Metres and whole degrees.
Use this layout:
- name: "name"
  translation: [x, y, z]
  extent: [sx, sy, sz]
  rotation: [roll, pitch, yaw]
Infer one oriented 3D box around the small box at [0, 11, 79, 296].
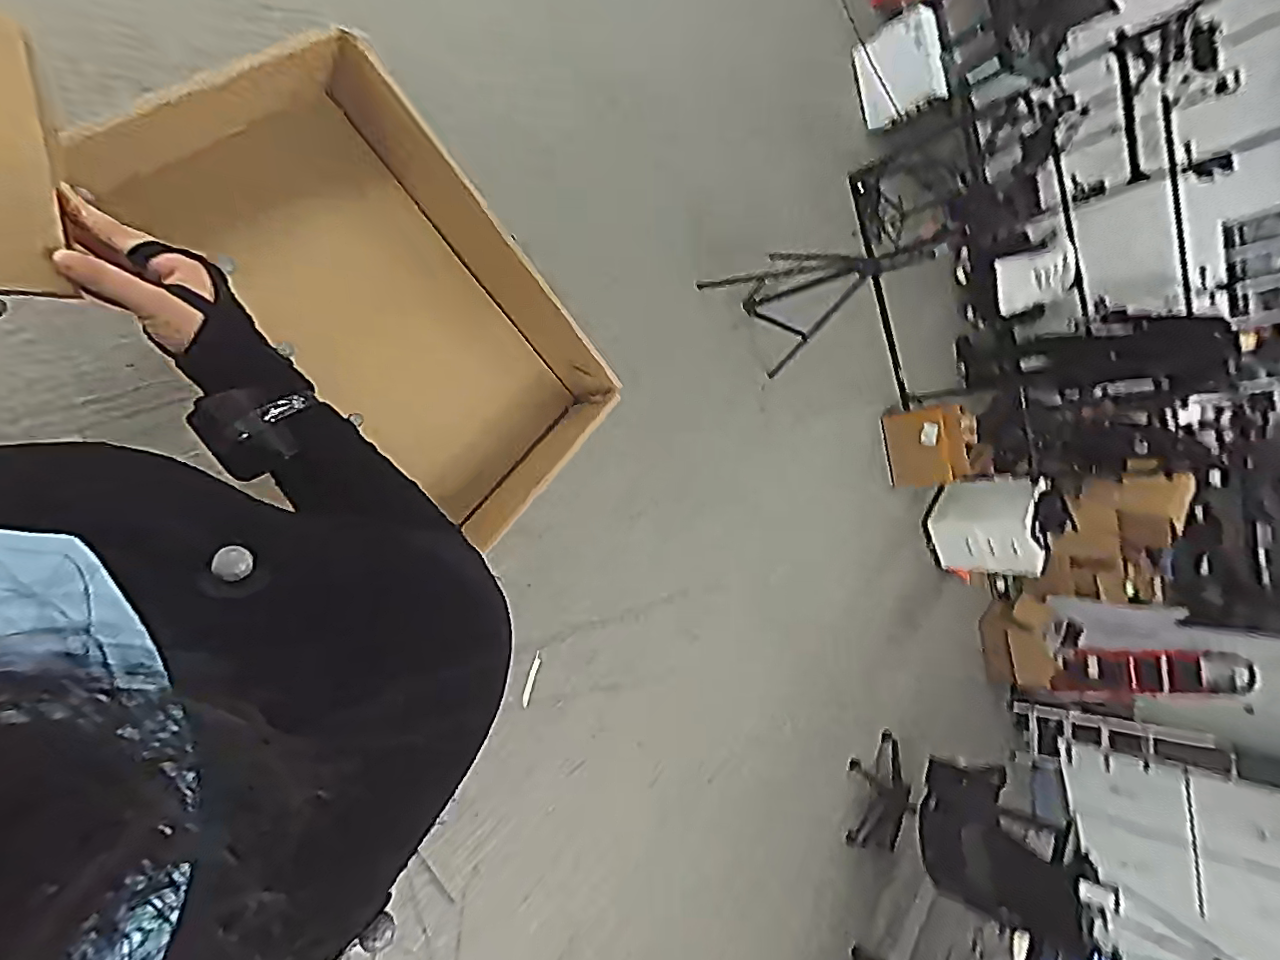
- name: "small box"
  translation: [-0.501, -0.213, 0.350]
  extent: [0.179, 0.176, 0.168]
  rotation: [-11, 110, -41]
